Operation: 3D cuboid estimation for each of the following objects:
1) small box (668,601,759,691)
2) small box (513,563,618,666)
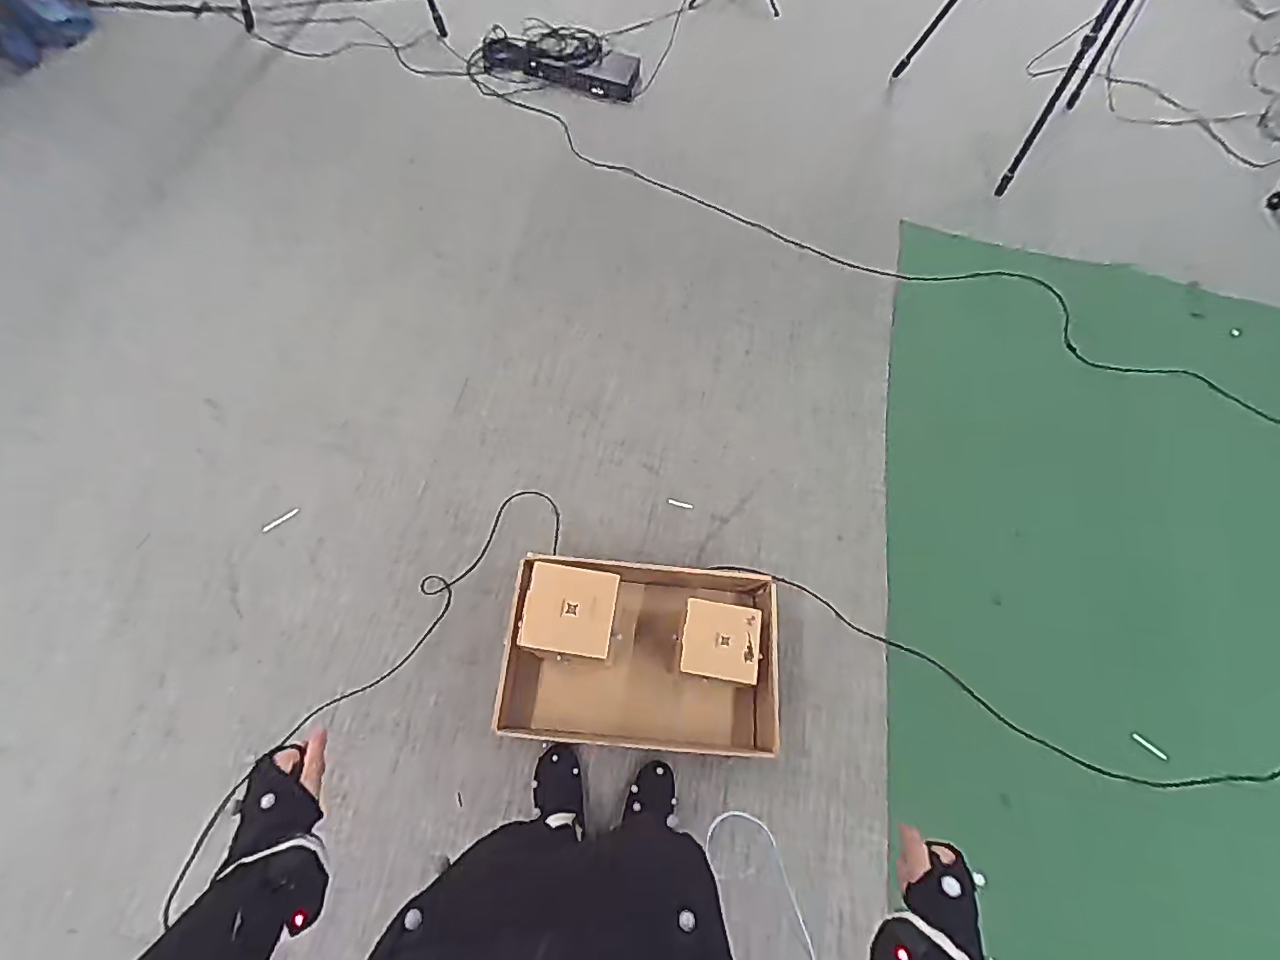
[{"bbox_3d":[0.168,0.397,1.276,0.179,0.176,0.168,11,66,0],"label":"small box"},{"bbox_3d":[-0.148,0.284,1.116,0.179,0.176,0.168,11,68,-2],"label":"small box"}]
